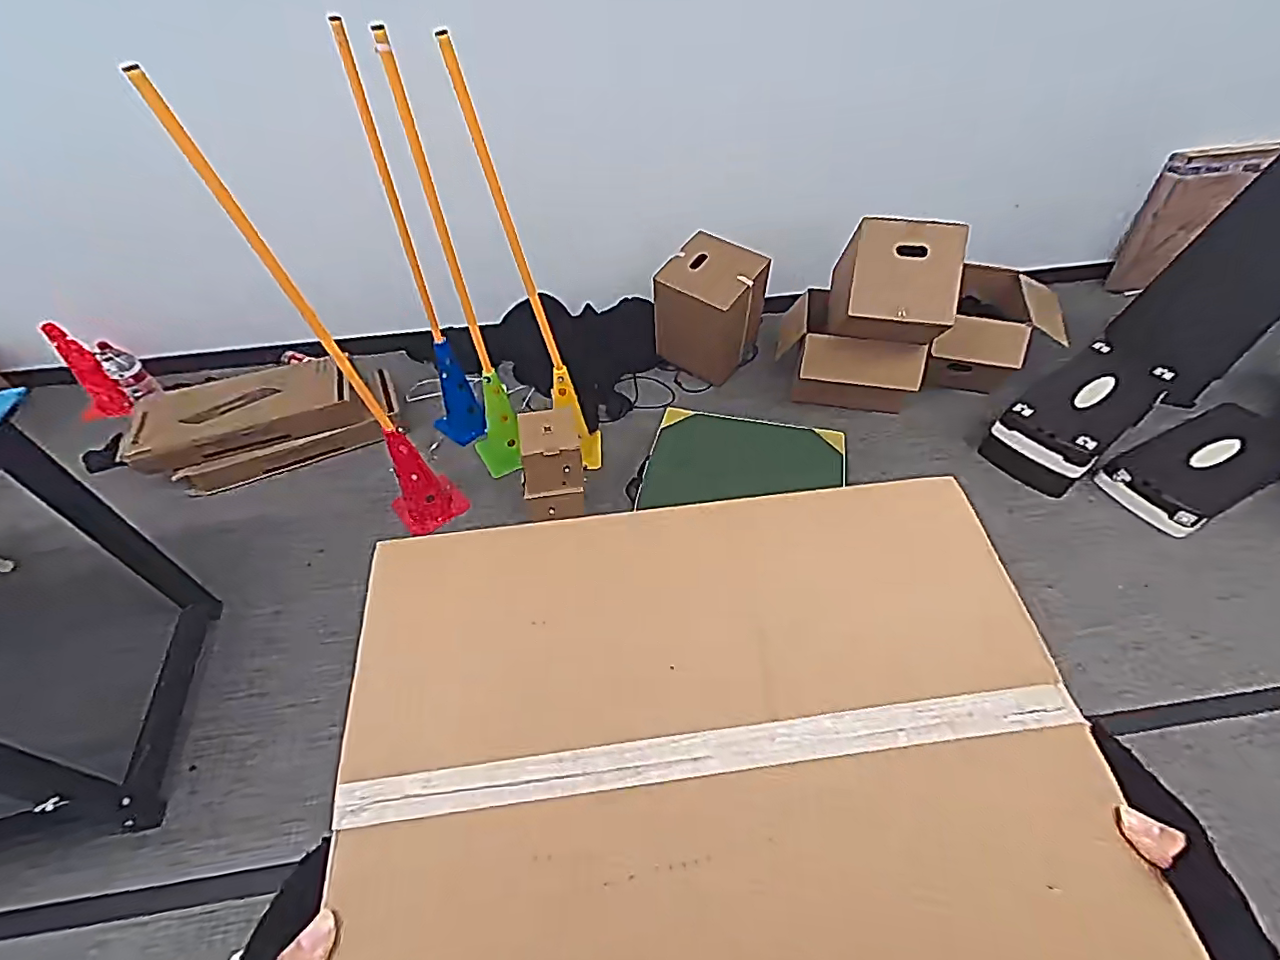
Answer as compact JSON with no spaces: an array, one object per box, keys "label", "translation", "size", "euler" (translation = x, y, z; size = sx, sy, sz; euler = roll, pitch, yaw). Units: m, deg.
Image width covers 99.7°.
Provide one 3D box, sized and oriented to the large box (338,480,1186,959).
[{"label":"large box","translation":[0.045,0.232,0.429],"size":[0.408,0.320,0.320],"euler":[-7,58,-3]}]
